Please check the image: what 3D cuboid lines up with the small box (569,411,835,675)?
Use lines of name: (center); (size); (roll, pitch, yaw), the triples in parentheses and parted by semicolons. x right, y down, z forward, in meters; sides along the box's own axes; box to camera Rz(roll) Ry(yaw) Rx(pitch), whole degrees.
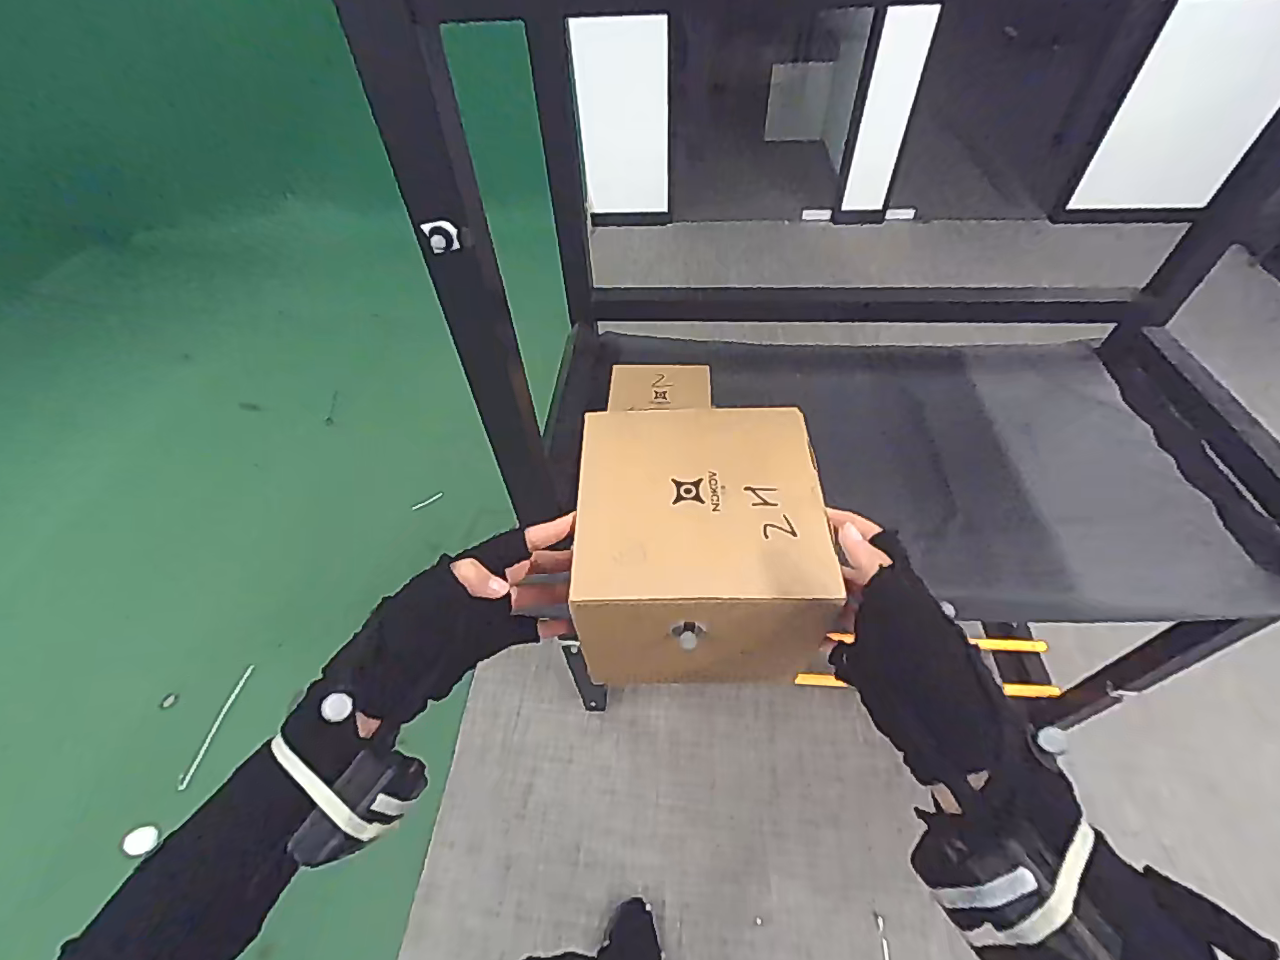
small box: (0.044, 0.059, 0.461); (0.179, 0.176, 0.168); (-1, 52, 2)
